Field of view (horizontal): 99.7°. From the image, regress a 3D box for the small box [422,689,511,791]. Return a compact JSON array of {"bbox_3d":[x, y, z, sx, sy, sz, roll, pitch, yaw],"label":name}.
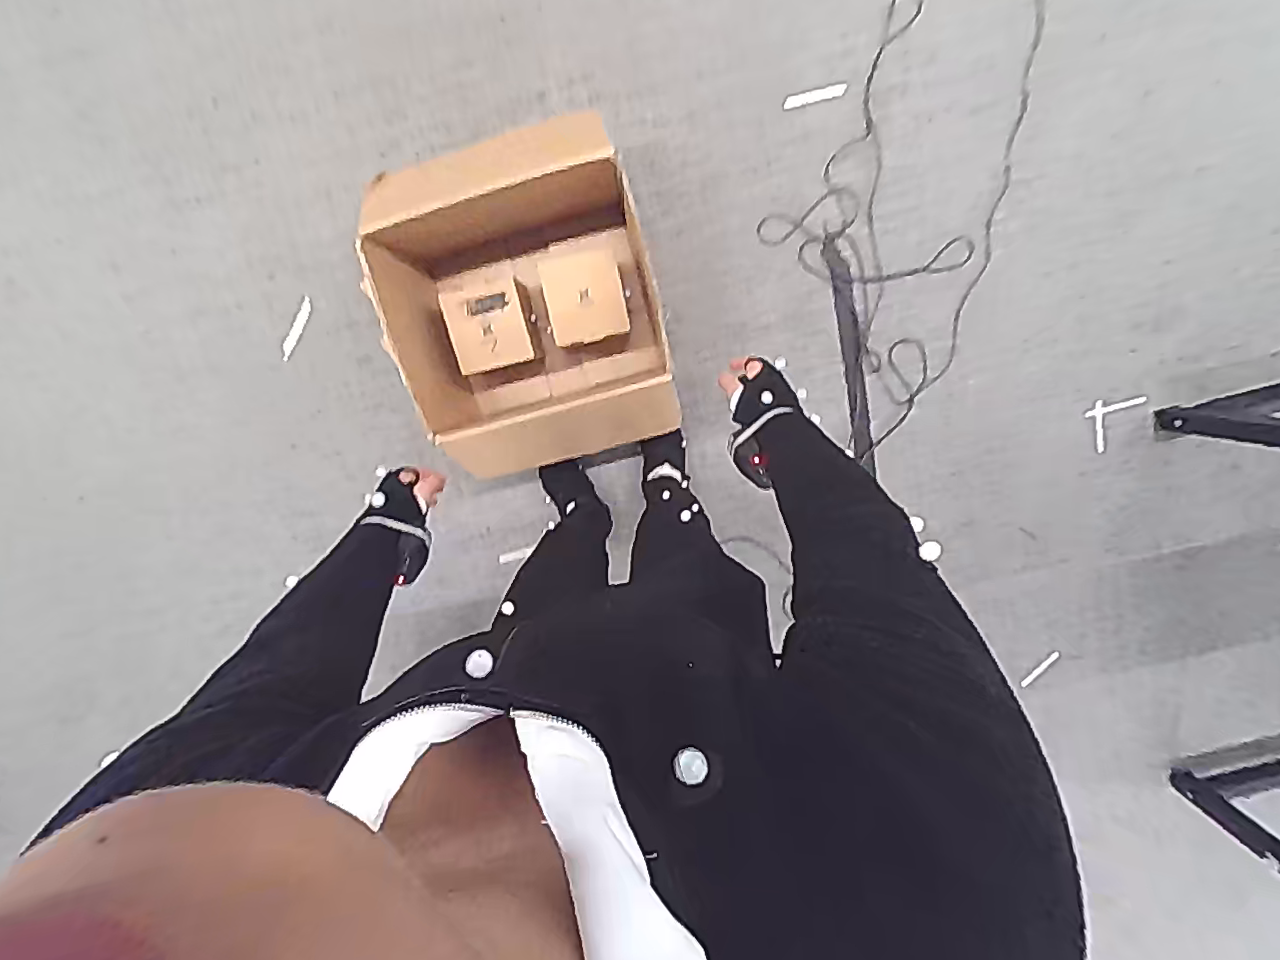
[{"bbox_3d":[-0.447,0.679,1.430,0.179,0.176,0.168,-10,104,-1],"label":"small box"}]
